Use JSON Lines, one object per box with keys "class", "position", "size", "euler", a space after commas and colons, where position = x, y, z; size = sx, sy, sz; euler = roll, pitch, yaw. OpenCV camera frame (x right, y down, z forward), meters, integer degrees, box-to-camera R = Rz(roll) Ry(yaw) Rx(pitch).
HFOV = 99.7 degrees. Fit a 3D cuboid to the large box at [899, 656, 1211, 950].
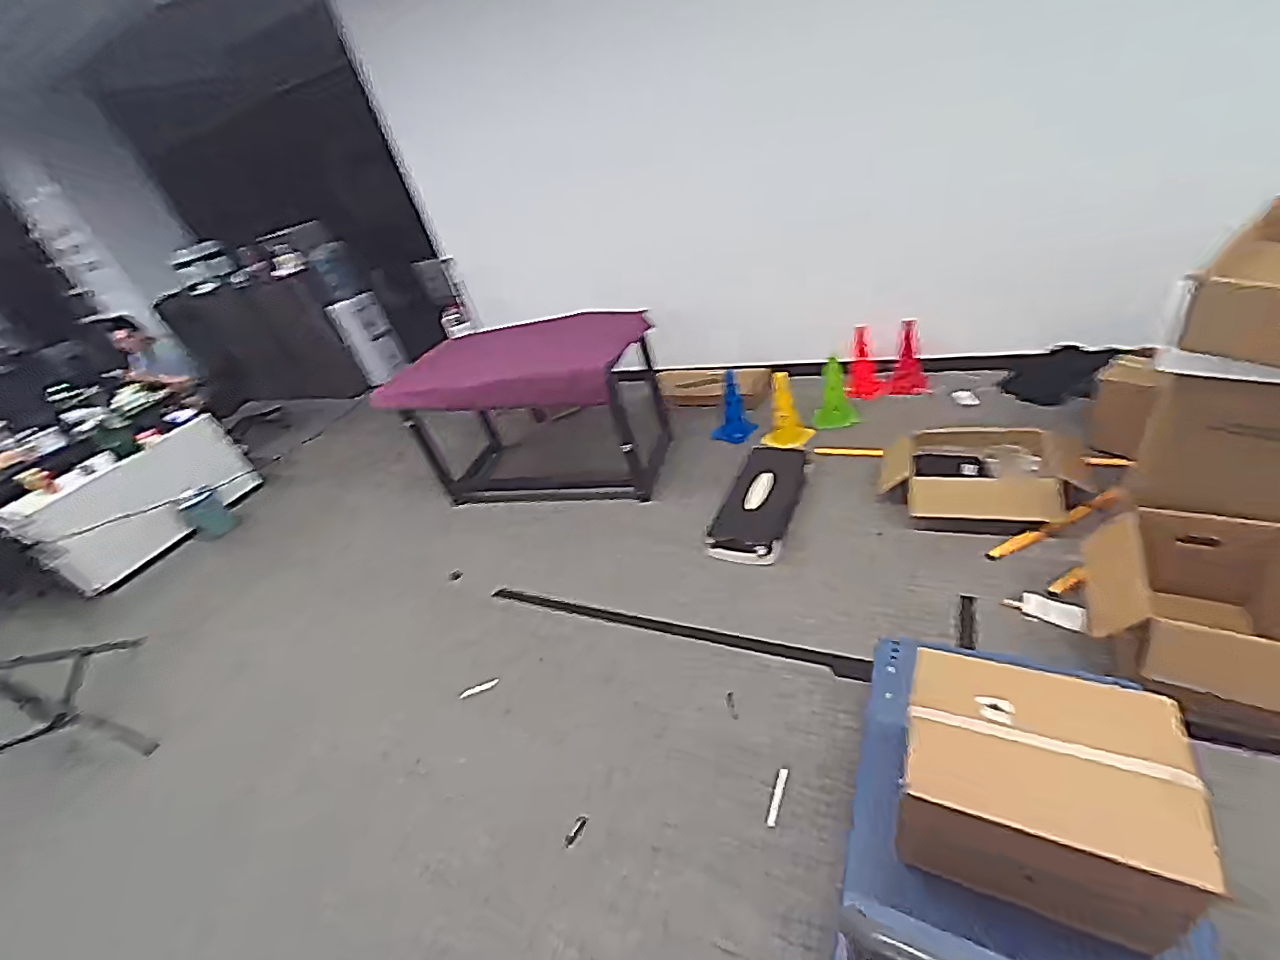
{"class": "large box", "position": [0.734, 0.594, 1.038], "size": [0.408, 0.320, 0.320], "euler": [4, 38, 29]}
